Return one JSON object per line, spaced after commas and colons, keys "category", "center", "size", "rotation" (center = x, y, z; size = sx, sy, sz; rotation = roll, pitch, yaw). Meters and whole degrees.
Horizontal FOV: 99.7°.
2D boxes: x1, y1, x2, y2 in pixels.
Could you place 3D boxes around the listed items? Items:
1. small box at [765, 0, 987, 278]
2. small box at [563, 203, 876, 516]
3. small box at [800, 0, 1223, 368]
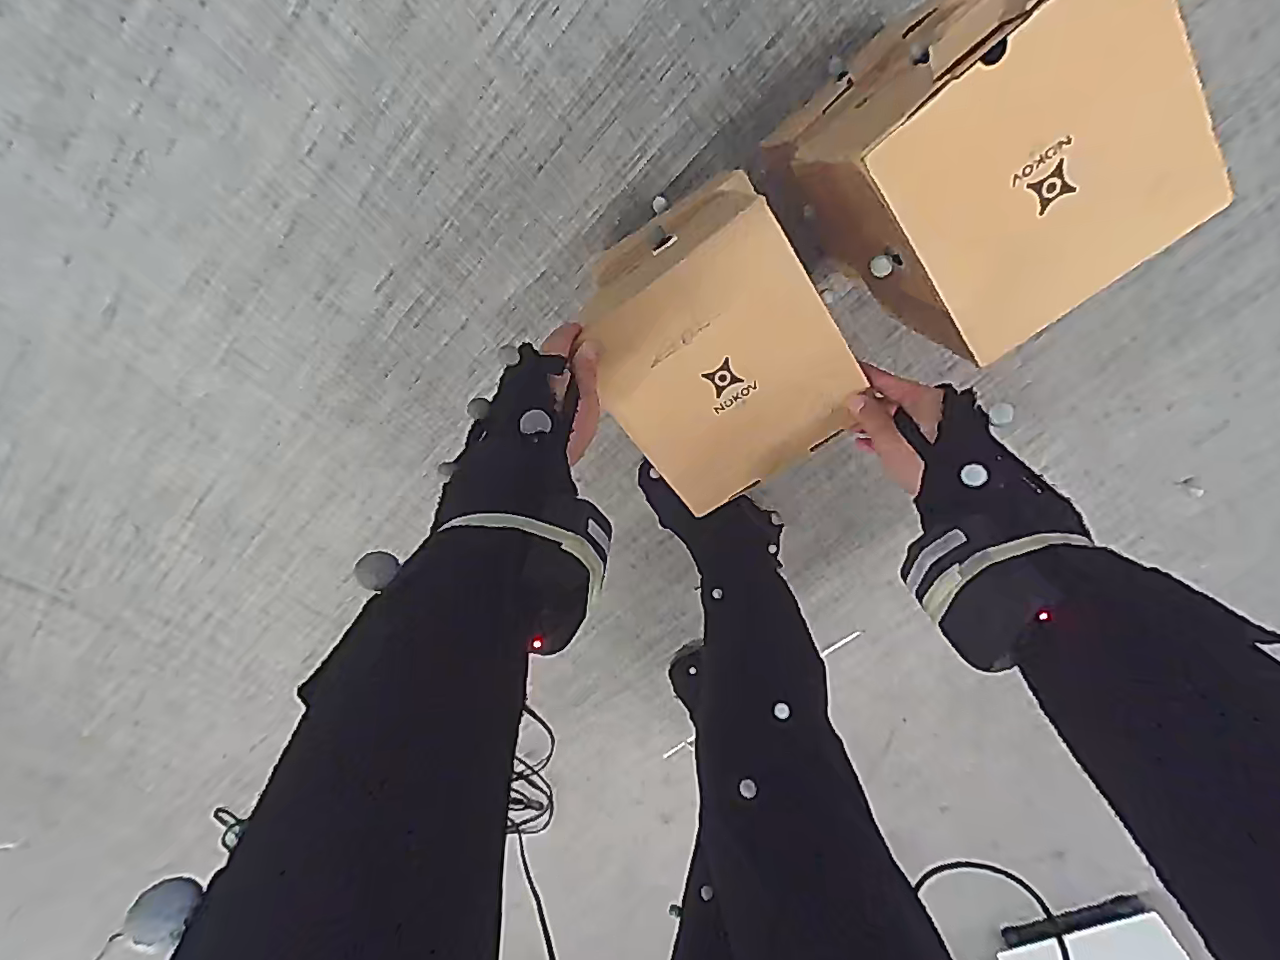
{"category": "small box", "center": [0.247, -0.315, 0.535], "size": [0.168, 0.176, 0.179], "rotation": [-38, 112, 19]}
{"category": "small box", "center": [0.061, -0.109, 0.458], "size": [0.168, 0.176, 0.179], "rotation": [-34, 113, 17]}
{"category": "small box", "center": [0.248, -0.220, 0.401], "size": [0.168, 0.176, 0.179], "rotation": [-37, 113, 18]}
